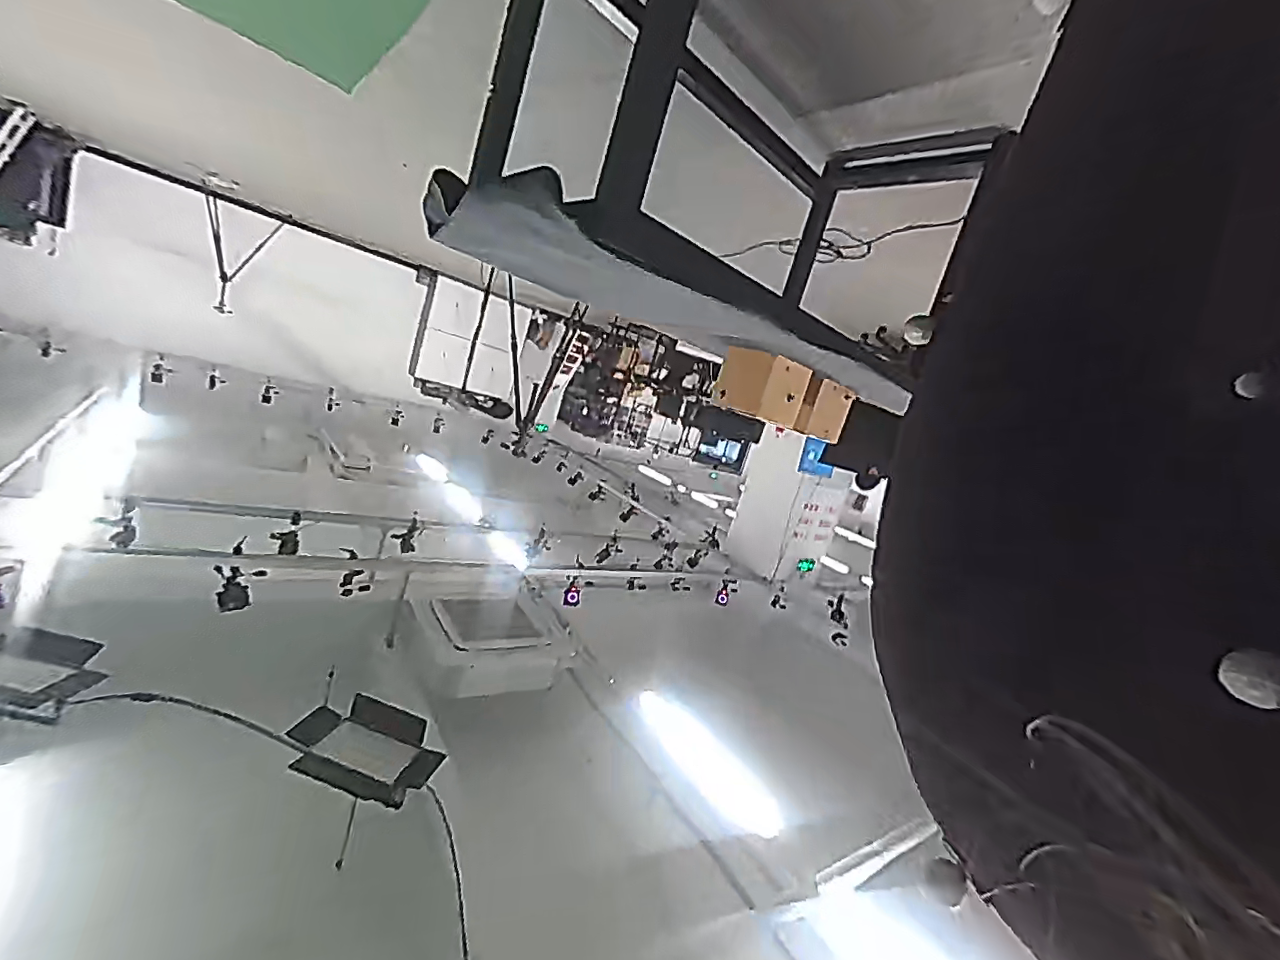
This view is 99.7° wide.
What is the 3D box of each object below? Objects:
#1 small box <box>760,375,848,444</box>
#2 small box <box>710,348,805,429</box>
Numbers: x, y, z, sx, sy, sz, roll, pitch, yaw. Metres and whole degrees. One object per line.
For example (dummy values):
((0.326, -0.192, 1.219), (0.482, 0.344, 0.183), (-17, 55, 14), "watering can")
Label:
((0.494, -0.220, 1.612), (0.168, 0.176, 0.179), (11, -168, -38), "small box")
((0.321, -0.249, 1.453), (0.168, 0.176, 0.179), (9, -167, -40), "small box")
